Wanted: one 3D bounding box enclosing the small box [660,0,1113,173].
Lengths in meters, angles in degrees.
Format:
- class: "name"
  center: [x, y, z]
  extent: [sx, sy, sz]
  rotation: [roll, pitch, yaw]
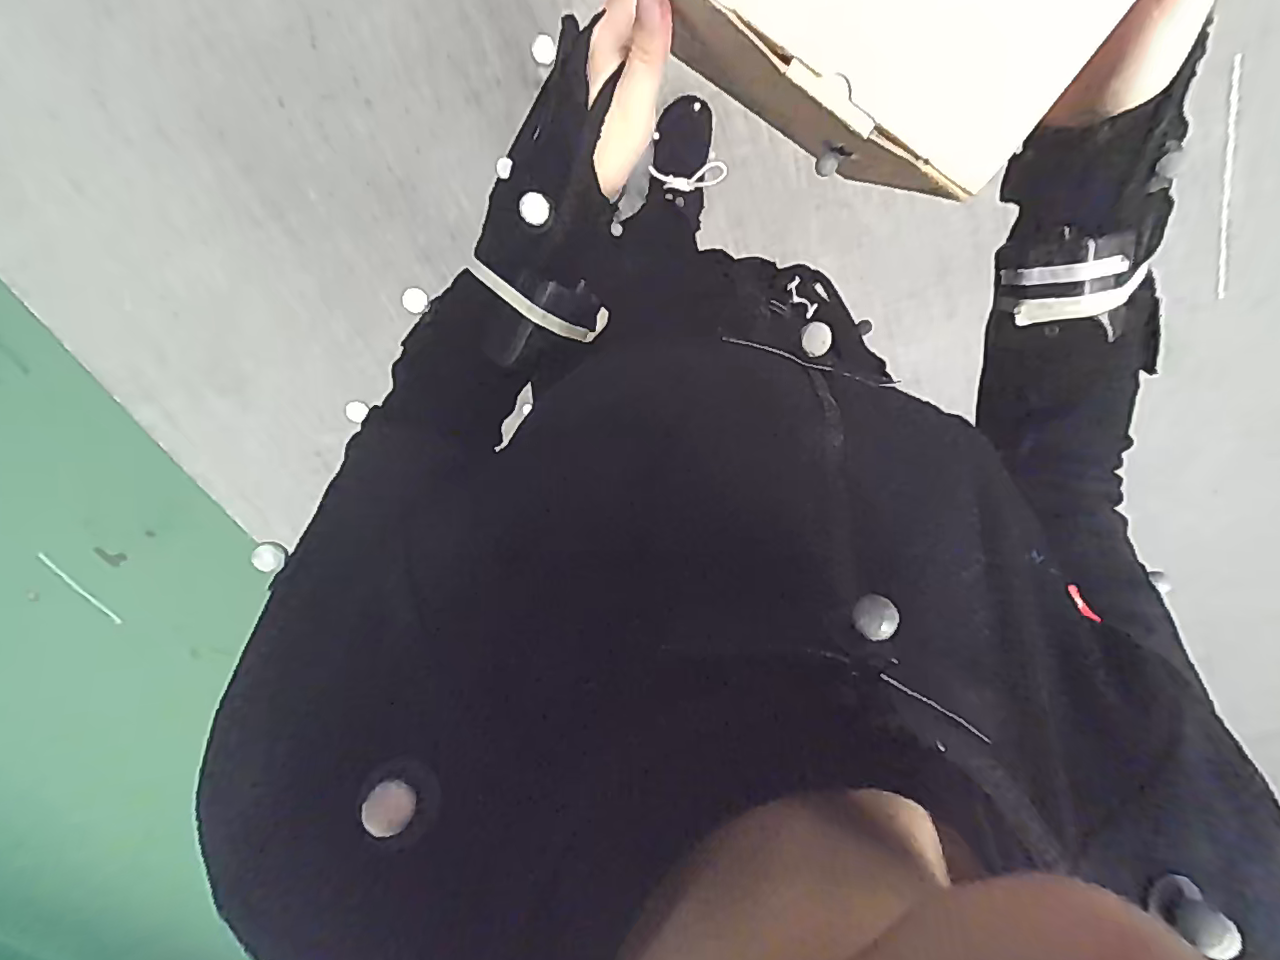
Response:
- class: "small box"
  center: [0.115, -0.271, 0.241]
  extent: [0.168, 0.176, 0.179]
  rotation: [23, 119, -16]
